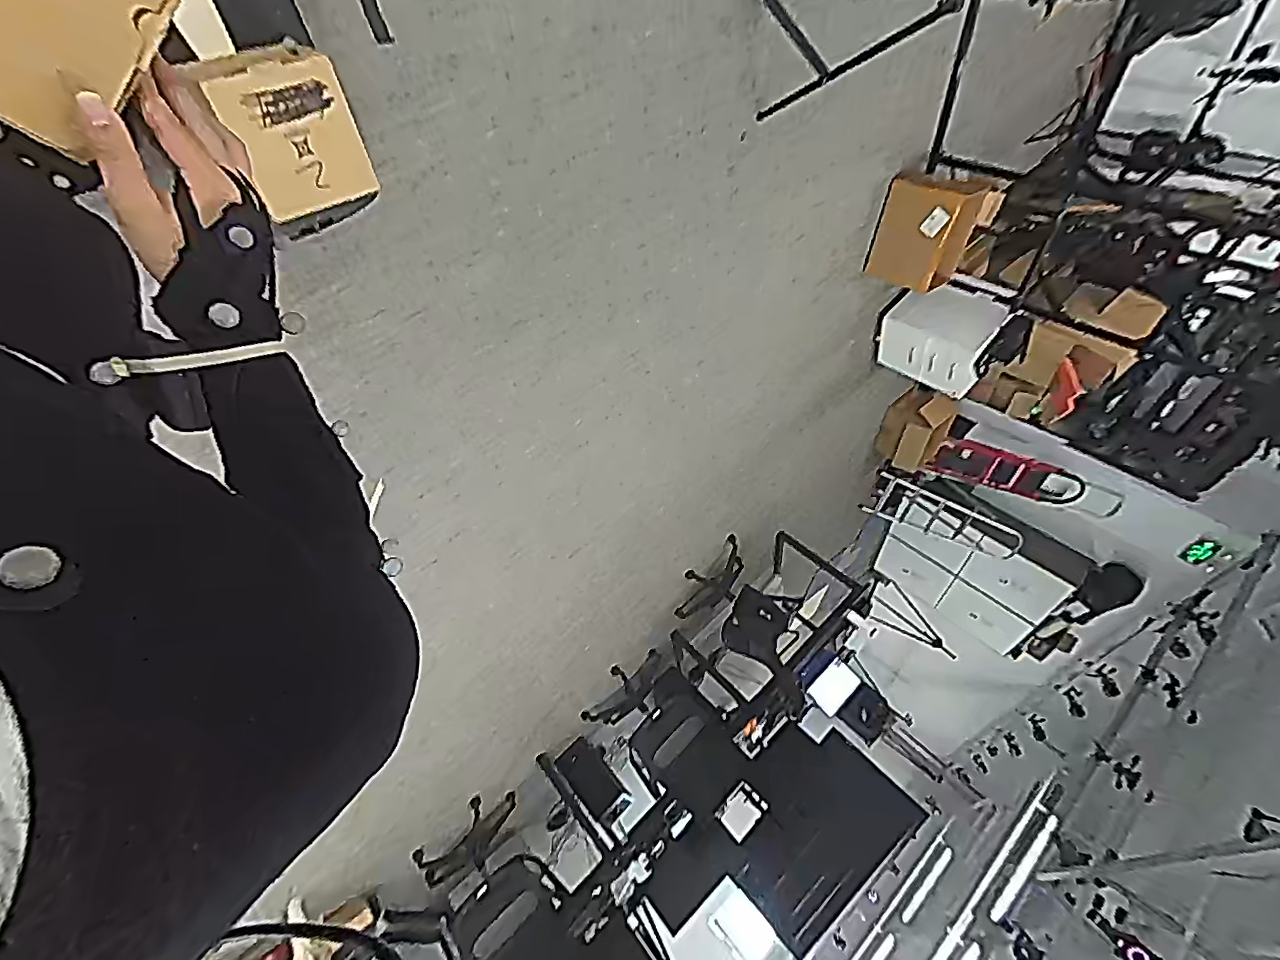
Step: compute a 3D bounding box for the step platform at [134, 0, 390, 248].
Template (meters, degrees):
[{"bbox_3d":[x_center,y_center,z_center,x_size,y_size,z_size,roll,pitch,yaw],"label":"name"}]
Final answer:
[{"bbox_3d":[-0.657,-0.712,0.786,0.286,0.204,0.684,-38,145,-22],"label":"step platform"}]
